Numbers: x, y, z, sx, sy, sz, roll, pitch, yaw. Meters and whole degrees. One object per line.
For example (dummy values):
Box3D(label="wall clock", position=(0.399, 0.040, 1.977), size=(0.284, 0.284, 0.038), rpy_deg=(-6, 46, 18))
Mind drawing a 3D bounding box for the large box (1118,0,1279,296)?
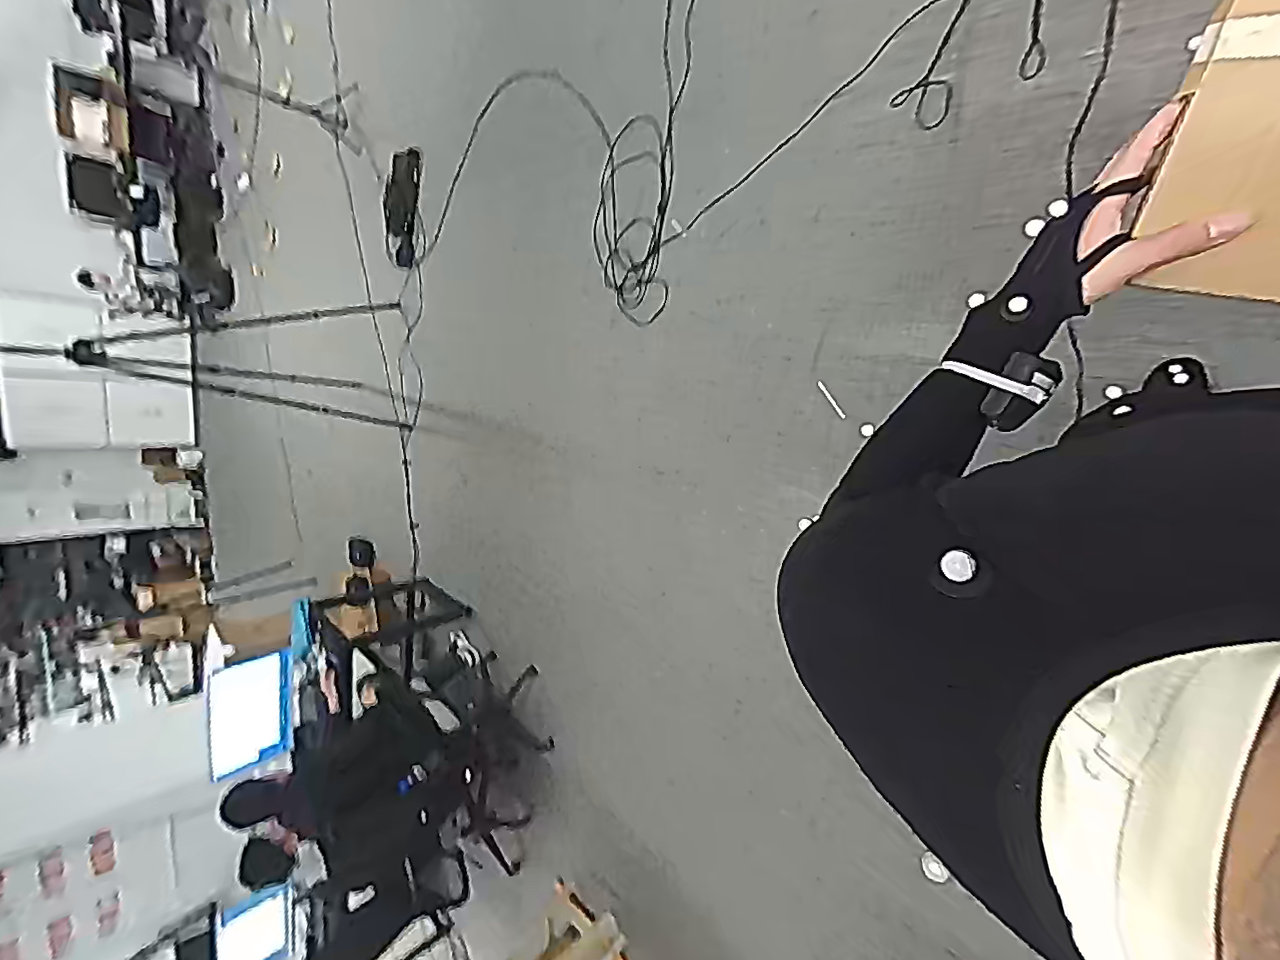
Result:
Box3D(label="large box", position=(0.635, -0.297, 0.364), size=(0.408, 0.320, 0.320), rpy_deg=(22, 128, 33))
